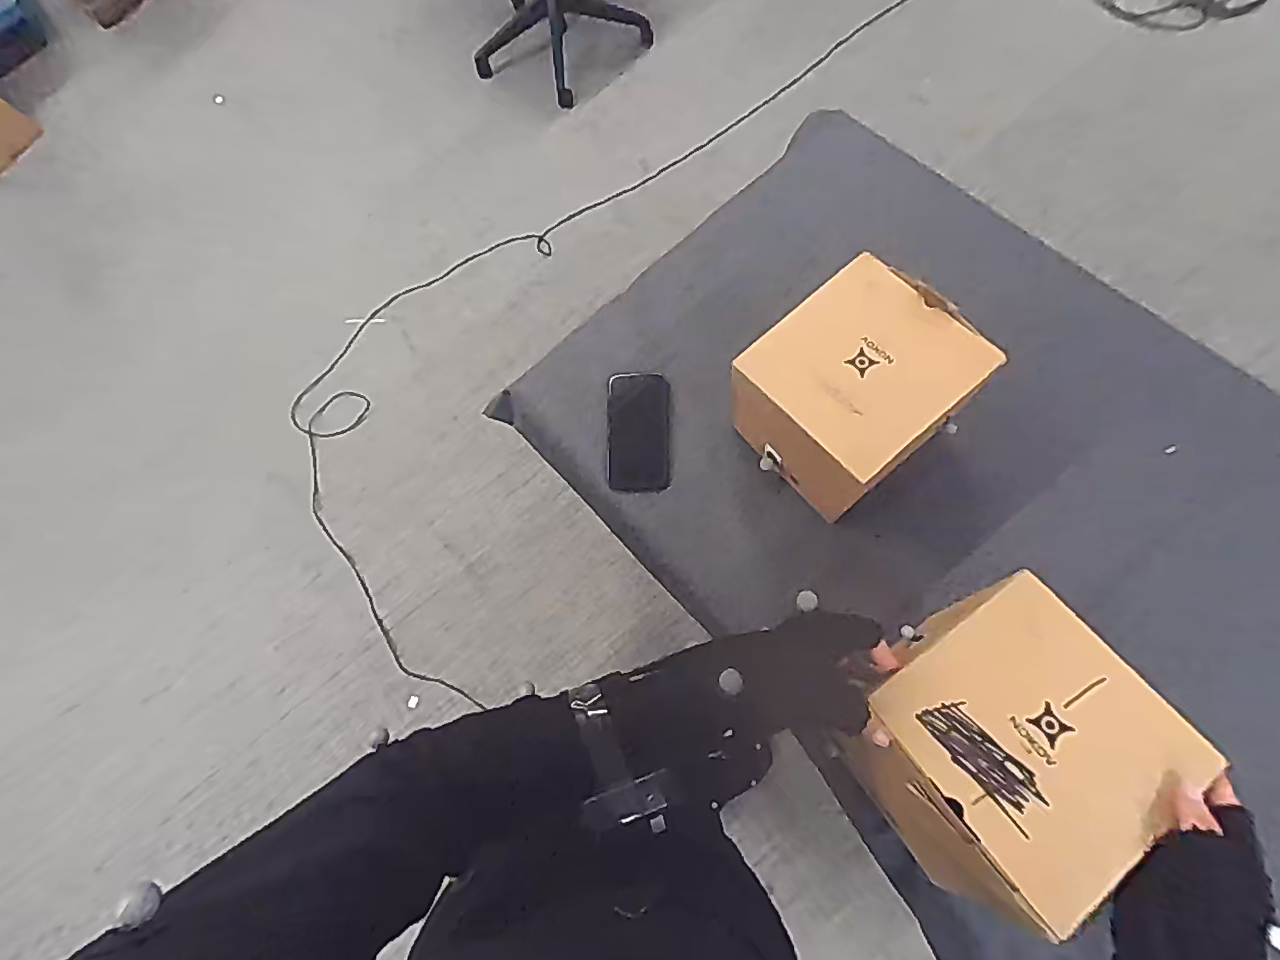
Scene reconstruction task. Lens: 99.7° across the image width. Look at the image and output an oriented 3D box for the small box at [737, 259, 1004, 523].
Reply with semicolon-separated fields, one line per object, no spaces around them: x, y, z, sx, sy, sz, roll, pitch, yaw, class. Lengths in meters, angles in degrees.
0.217;-0.080;0.565;0.179;0.176;0.168;-41;70;-3;small box
